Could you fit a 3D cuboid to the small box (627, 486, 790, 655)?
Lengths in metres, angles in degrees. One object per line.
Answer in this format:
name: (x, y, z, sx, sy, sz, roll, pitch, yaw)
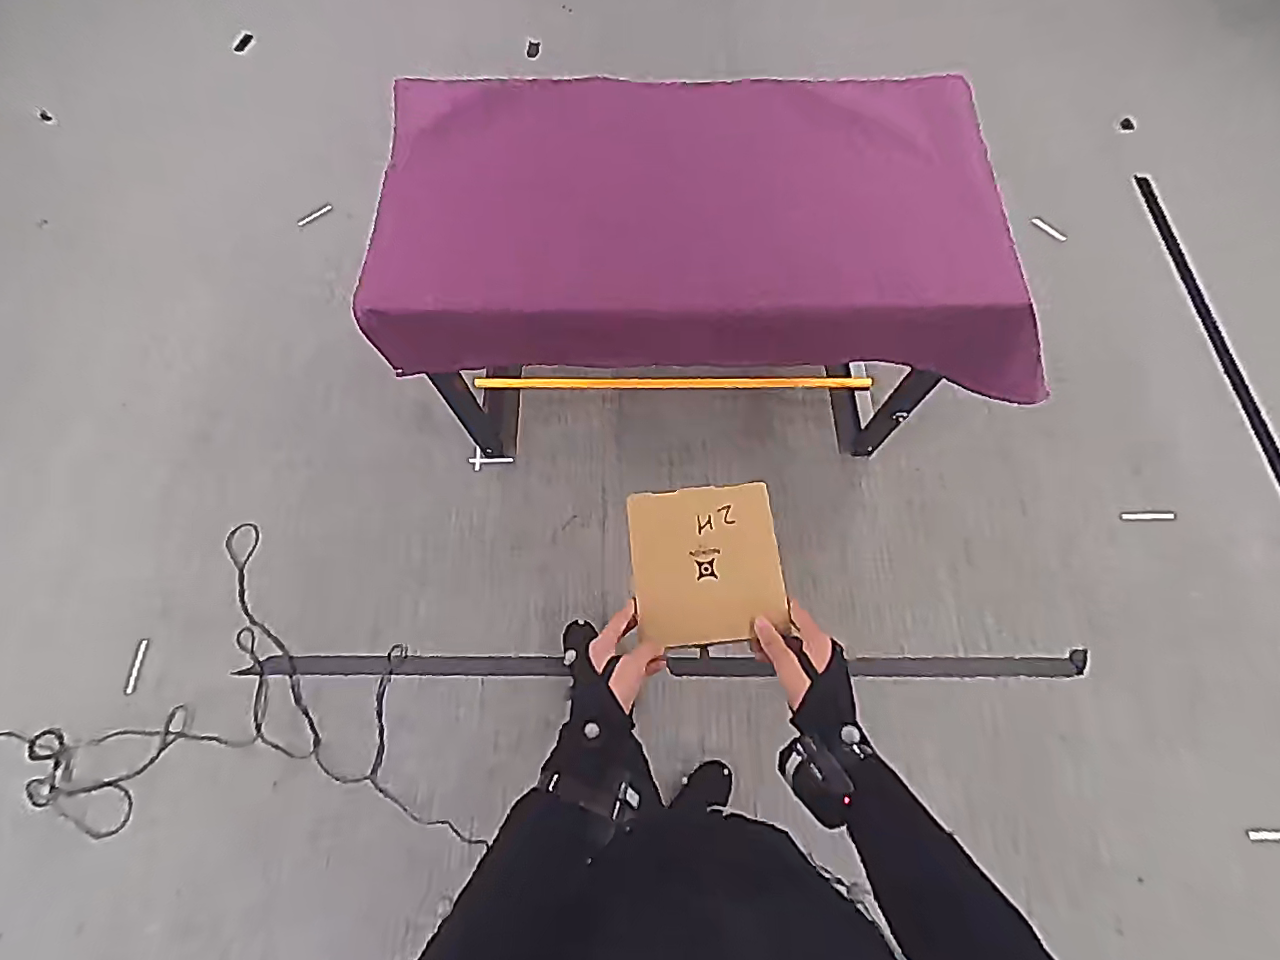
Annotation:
small box: (0.074, 0.119, 0.670, 0.168, 0.176, 0.179, -5, 71, -1)
